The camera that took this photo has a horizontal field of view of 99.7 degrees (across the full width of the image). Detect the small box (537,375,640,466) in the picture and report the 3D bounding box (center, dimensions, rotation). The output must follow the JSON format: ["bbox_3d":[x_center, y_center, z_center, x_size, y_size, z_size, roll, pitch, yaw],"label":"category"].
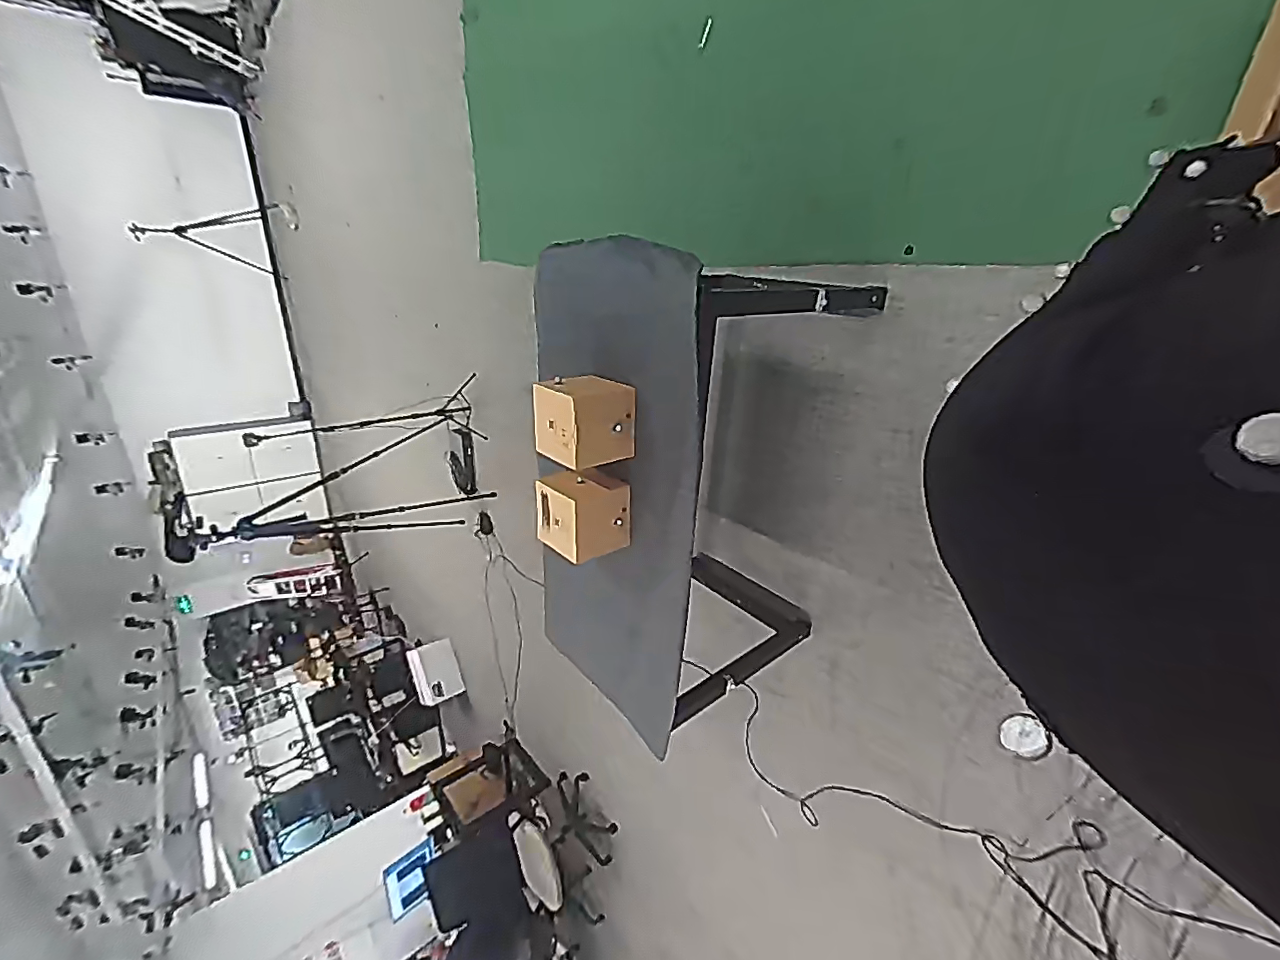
[{"bbox_3d":[-0.121,-0.146,1.255,0.179,0.176,0.168,25,122,45],"label":"small box"}]
